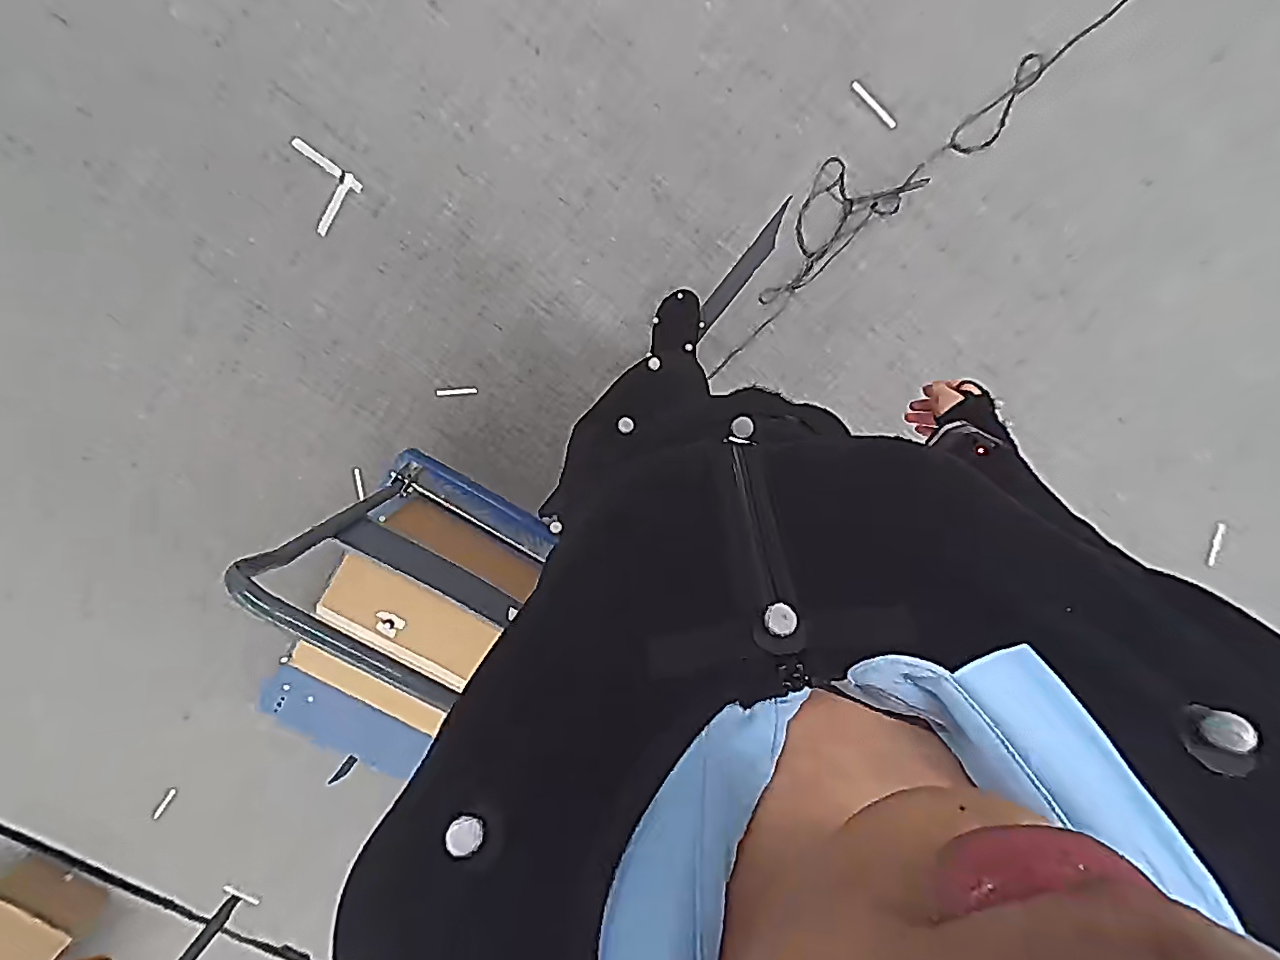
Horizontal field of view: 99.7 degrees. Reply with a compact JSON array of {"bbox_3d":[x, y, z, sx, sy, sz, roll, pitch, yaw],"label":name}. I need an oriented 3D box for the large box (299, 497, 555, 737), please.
[{"bbox_3d":[-0.461,0.300,1.258,0.408,0.320,0.320,32,102,-9],"label":"large box"}]
